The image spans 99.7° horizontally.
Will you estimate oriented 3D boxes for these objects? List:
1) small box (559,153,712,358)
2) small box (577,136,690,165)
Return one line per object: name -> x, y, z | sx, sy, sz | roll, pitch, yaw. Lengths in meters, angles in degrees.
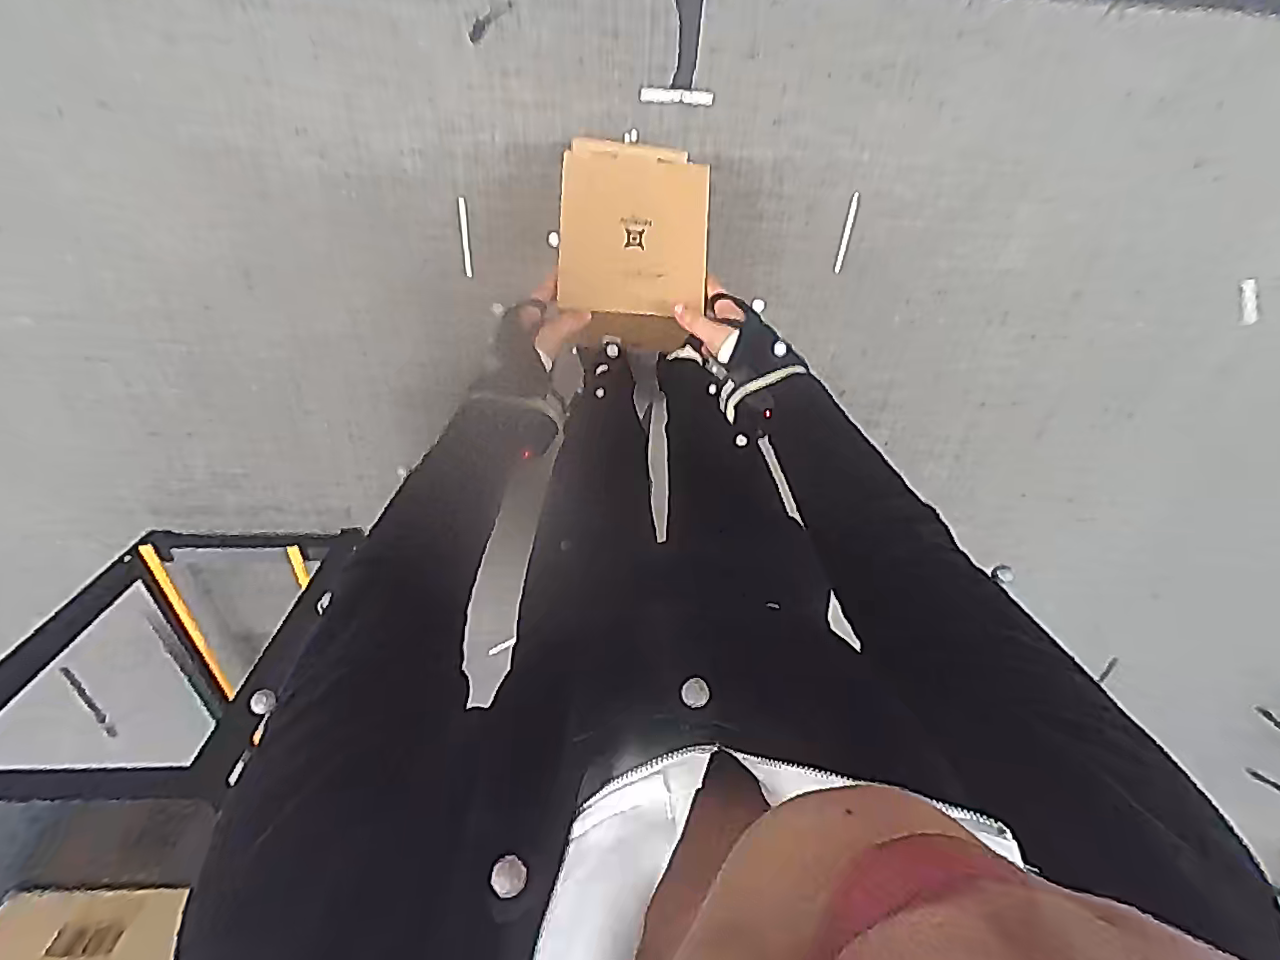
small box -> -0.012, -0.263, 0.669 | 0.168, 0.176, 0.179 | 2, 89, -6
small box -> -0.023, -0.447, 0.877 | 0.168, 0.176, 0.179 | 4, 124, -6
